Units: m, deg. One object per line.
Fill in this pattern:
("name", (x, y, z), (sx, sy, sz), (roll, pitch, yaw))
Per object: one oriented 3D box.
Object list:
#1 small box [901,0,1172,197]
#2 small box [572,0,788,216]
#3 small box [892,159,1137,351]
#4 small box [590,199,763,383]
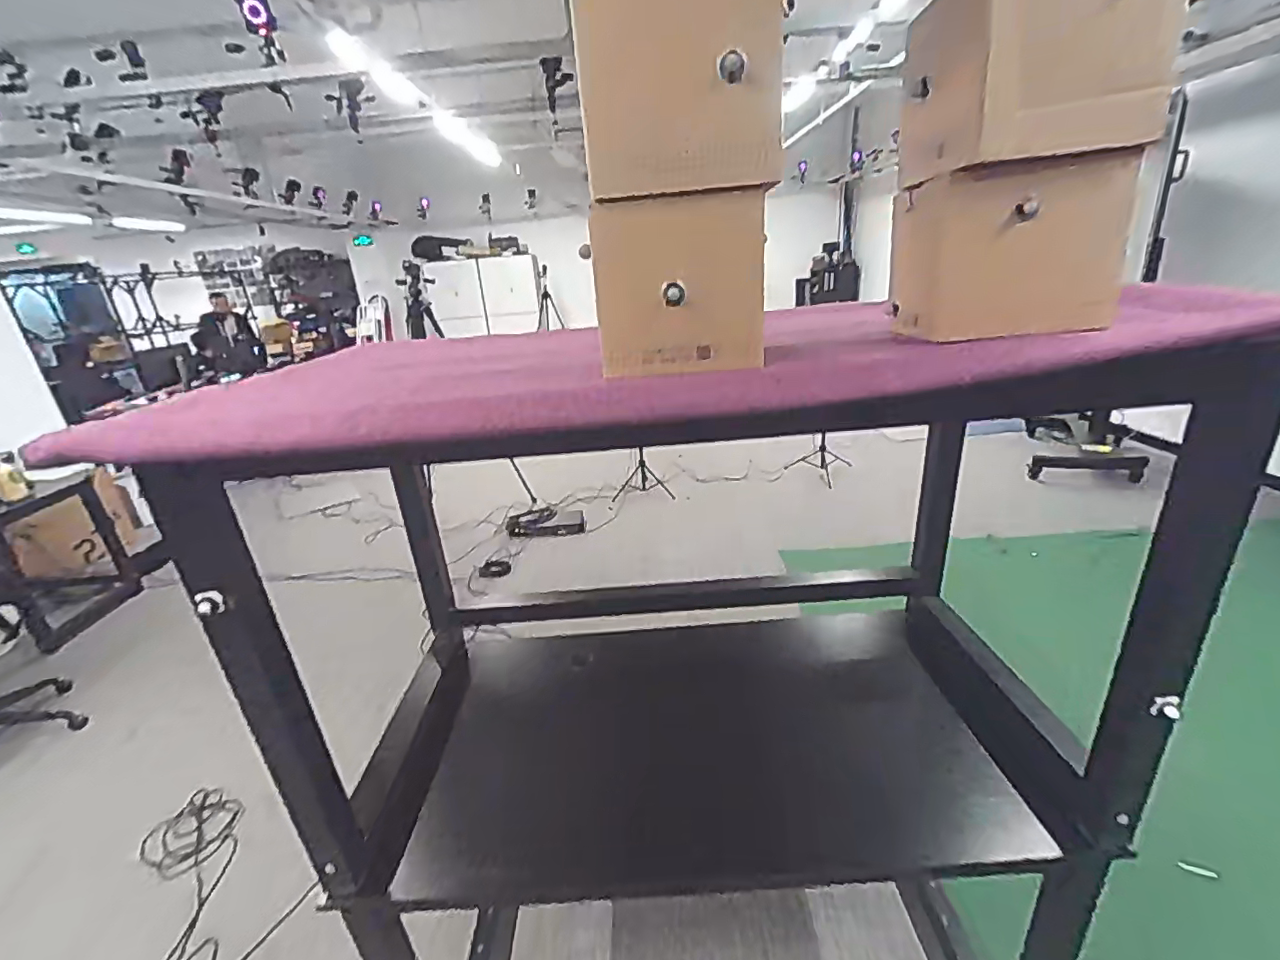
("small box", (0.386, -0.392, 0.552), (0.179, 0.176, 0.168), (-5, 20, 3))
("small box", (0.041, -0.352, 0.535), (0.179, 0.176, 0.168), (-4, 20, 4))
("small box", (0.404, -0.245, 0.620), (0.179, 0.176, 0.168), (-3, 20, 7))
("small box", (0.044, -0.204, 0.605), (0.168, 0.176, 0.179), (-3, 21, 3))
